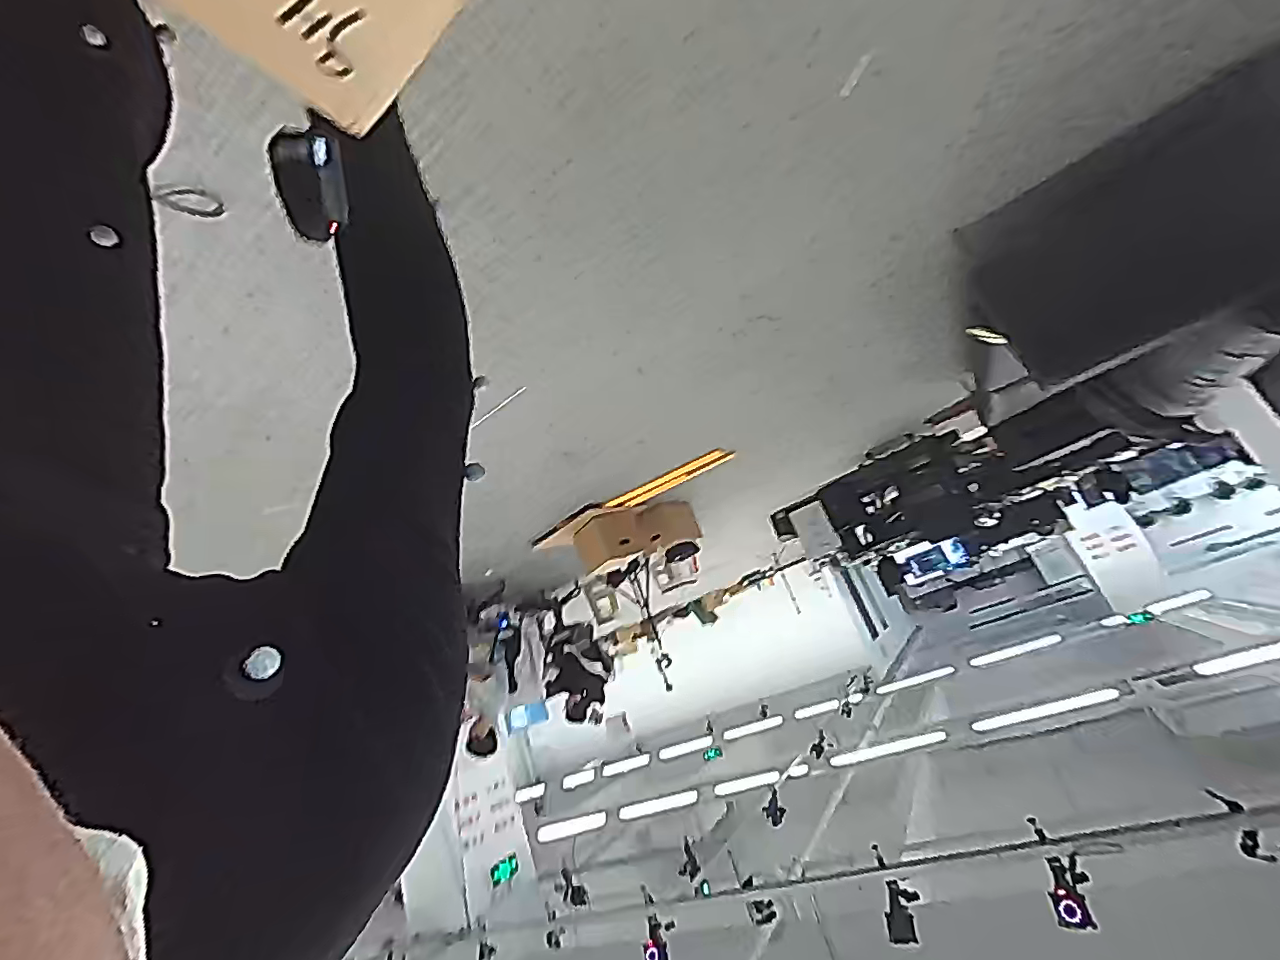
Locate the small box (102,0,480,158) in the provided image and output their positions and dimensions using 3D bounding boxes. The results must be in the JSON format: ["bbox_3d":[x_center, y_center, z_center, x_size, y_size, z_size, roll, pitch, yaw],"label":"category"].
[{"bbox_3d":[-0.121,-0.249,0.143,0.179,0.176,0.168,-34,155,24],"label":"small box"}]
